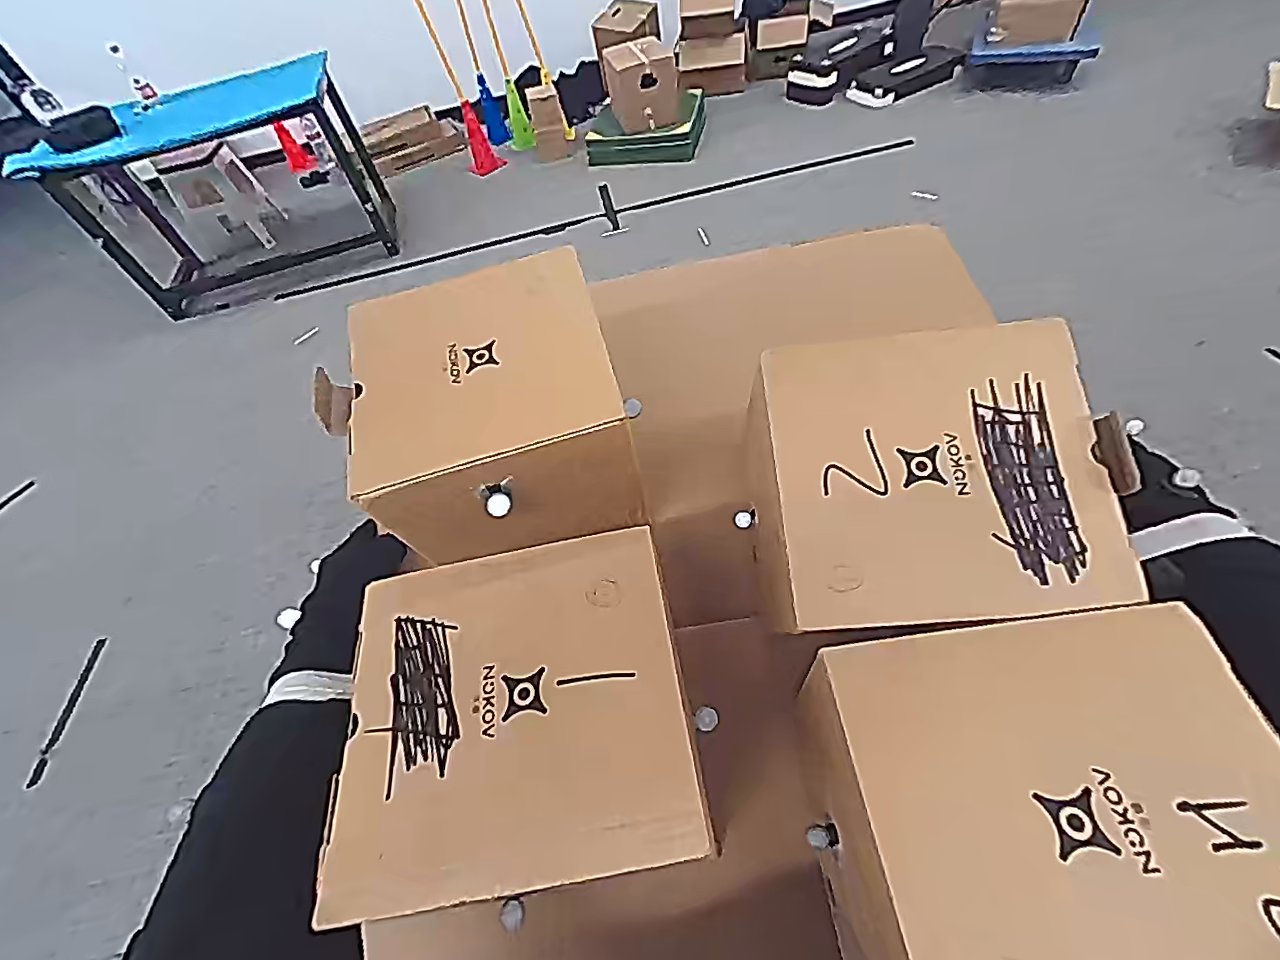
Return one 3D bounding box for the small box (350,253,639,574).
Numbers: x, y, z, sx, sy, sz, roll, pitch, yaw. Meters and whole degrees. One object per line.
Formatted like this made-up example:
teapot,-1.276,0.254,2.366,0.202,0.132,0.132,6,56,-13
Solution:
small box,-0.104,-0.042,0.439,0.179,0.176,0.168,-17,61,0
